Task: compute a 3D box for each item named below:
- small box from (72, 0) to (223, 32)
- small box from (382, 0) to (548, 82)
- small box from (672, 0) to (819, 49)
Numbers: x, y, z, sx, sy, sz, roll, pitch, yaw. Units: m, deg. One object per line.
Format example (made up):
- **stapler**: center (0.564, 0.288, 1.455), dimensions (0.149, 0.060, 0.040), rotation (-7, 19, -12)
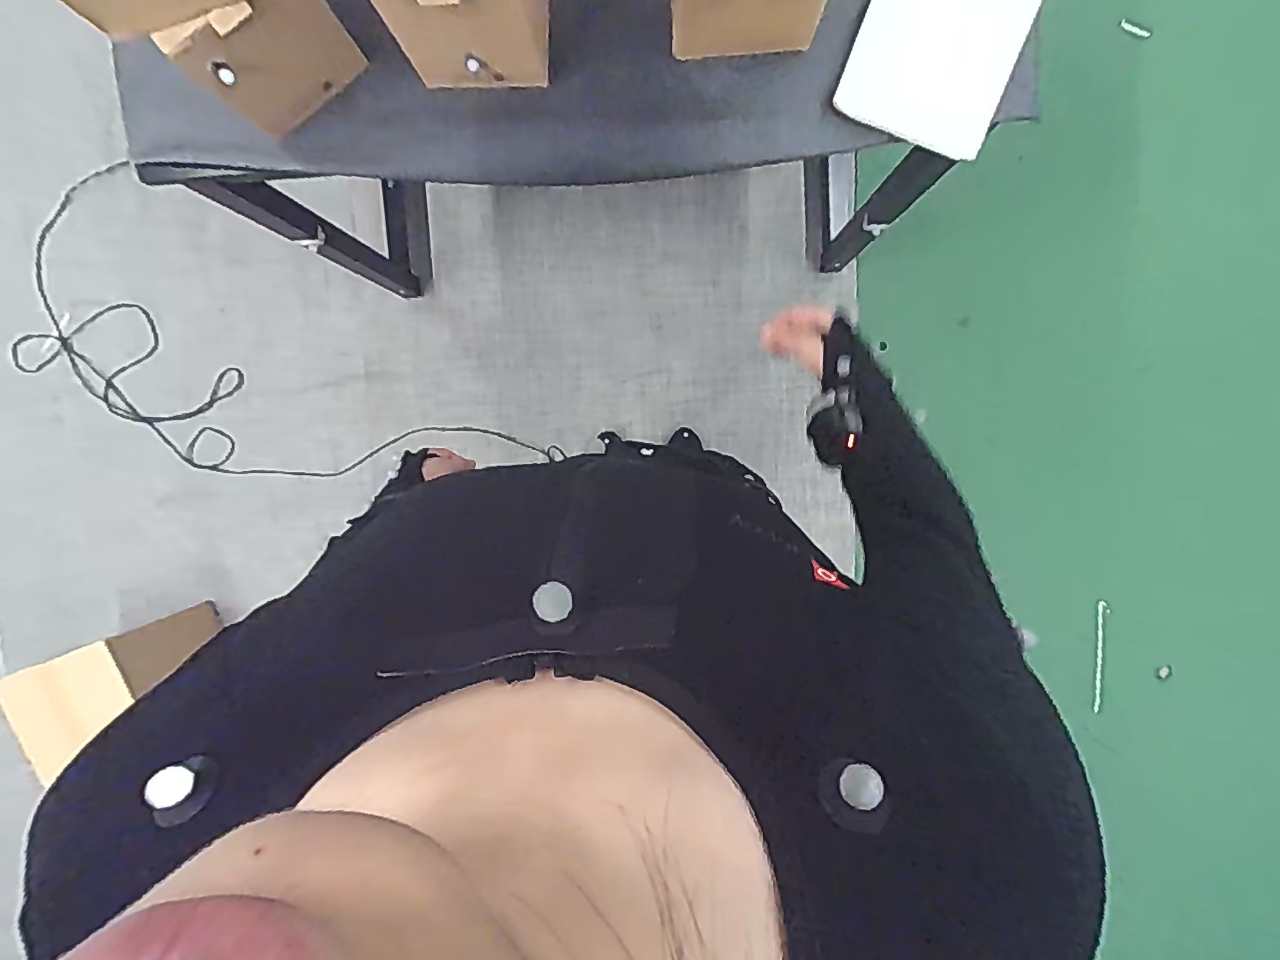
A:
- **small box**: center (-0.496, -0.557, 0.480), dimensions (0.179, 0.176, 0.168), rotation (-16, 94, 5)
- **small box**: center (-0.205, -0.606, 0.626), dimensions (0.168, 0.176, 0.179), rotation (1, 95, 4)
- **small box**: center (0.124, -0.633, 0.609), dimensions (0.179, 0.176, 0.168), rotation (-3, 94, 4)
